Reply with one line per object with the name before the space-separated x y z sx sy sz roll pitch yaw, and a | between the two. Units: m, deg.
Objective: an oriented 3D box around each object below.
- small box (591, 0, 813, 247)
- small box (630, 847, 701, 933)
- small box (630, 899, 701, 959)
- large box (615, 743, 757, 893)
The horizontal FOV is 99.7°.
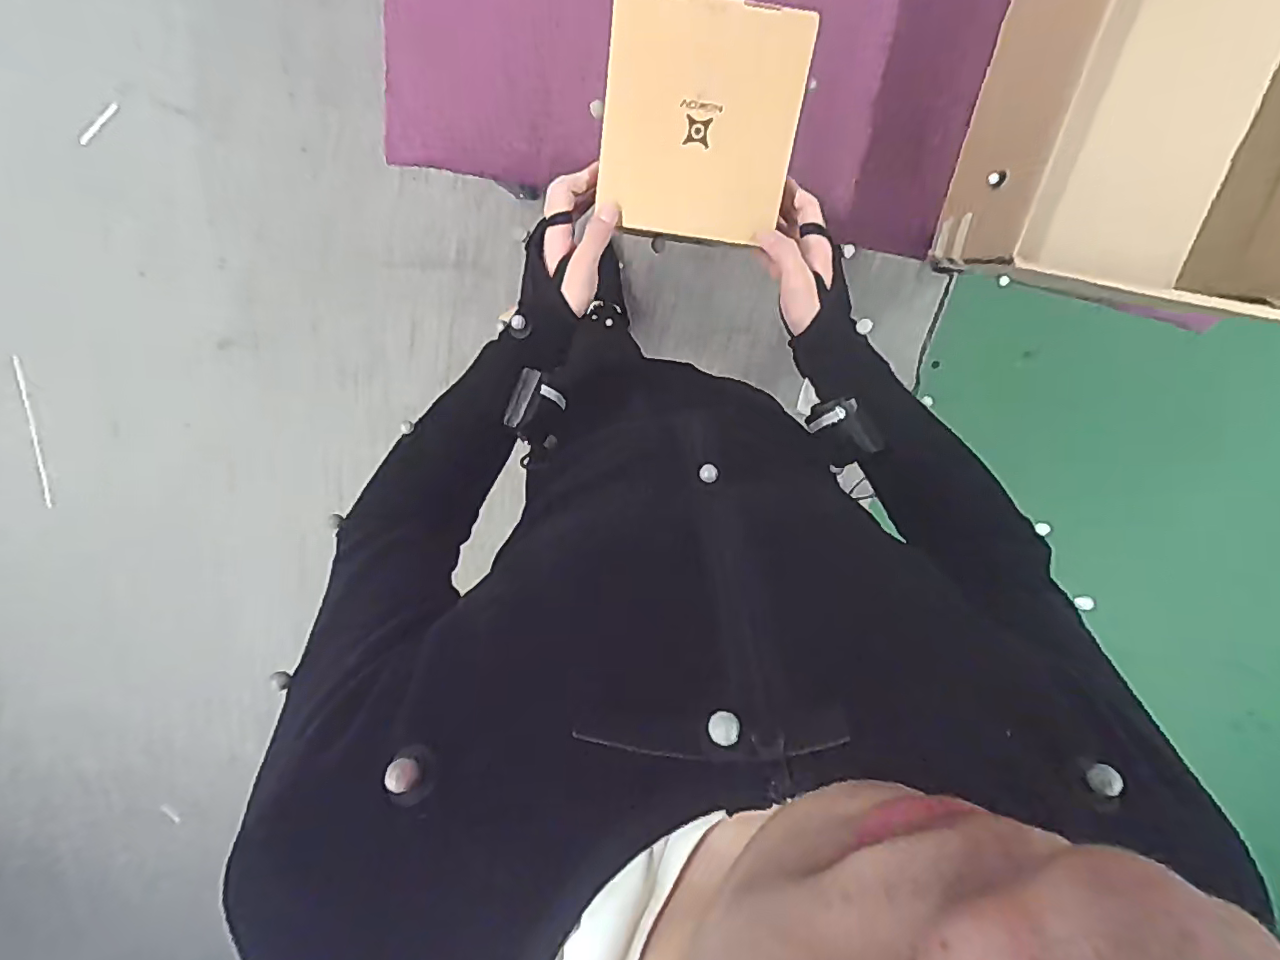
small box | 0.053 -0.333 0.532 0.168 0.176 0.179 8 111 1
small box | 0.078 1.312 1.710 0.179 0.176 0.168 -22 109 6
small box | 0.077 1.360 1.554 0.168 0.176 0.179 -21 108 5
large box | 0.152 1.230 1.944 0.408 0.320 0.320 -22 110 6
